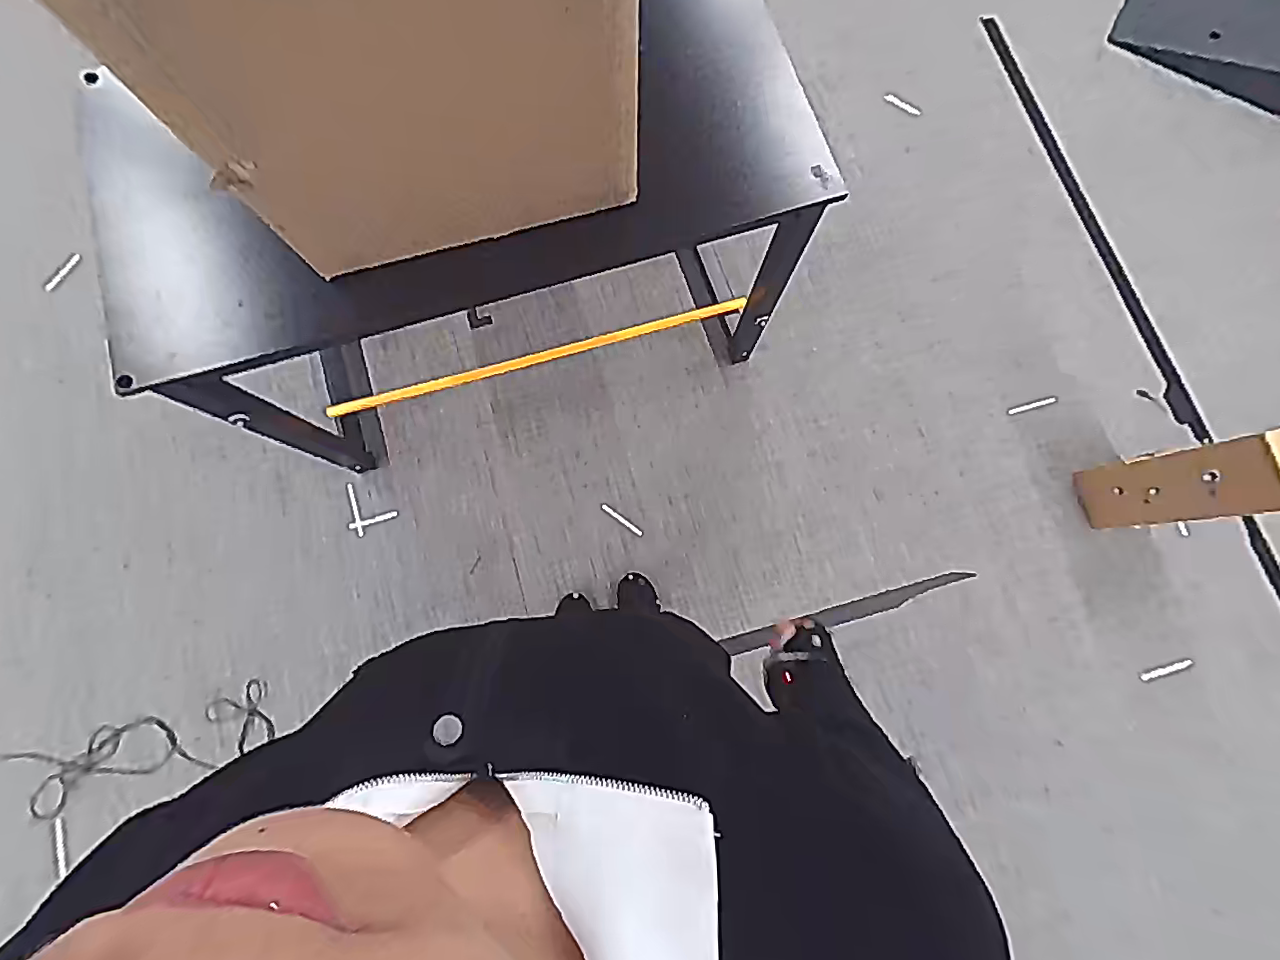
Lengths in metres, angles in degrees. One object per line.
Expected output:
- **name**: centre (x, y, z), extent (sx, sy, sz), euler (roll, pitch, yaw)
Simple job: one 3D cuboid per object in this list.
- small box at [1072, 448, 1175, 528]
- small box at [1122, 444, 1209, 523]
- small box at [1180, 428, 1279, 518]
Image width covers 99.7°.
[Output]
- **small box**: centre (1.354, 0.027, 1.494), extent (0.168, 0.176, 0.179), euler (-13, 81, -3)
- **small box**: centre (1.363, 0.003, 1.331), extent (0.179, 0.176, 0.168), euler (-13, 80, -3)
- **small box**: centre (1.353, -0.021, 1.170), extent (0.179, 0.176, 0.168), euler (-13, 80, -2)
